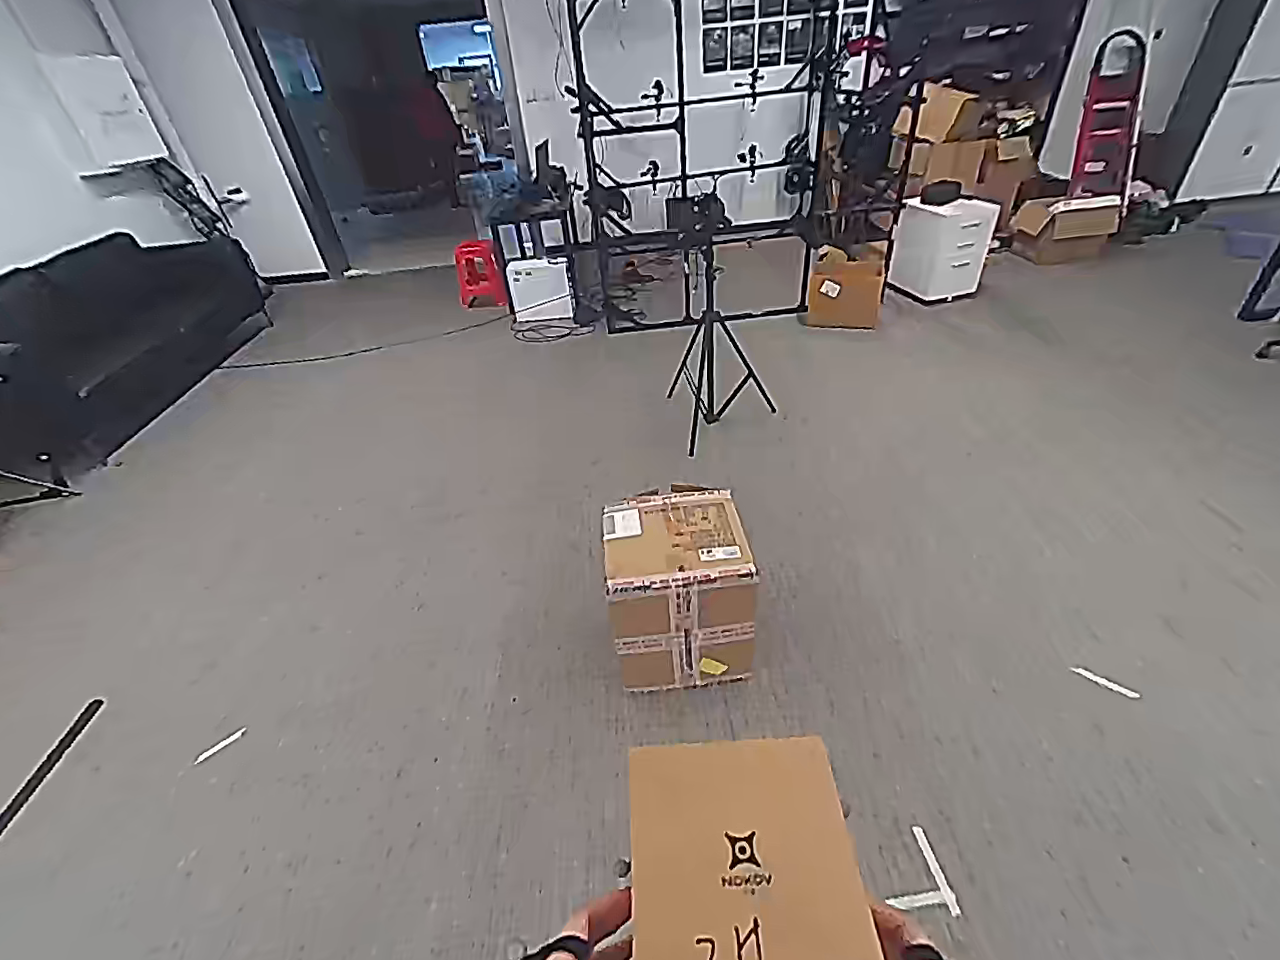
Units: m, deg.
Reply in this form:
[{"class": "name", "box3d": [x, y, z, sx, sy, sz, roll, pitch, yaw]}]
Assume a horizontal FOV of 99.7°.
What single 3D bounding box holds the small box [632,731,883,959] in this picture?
[{"class": "small box", "box3d": [0.078, 0.336, 0.451, 0.168, 0.176, 0.179, -4, 41, 0]}]
